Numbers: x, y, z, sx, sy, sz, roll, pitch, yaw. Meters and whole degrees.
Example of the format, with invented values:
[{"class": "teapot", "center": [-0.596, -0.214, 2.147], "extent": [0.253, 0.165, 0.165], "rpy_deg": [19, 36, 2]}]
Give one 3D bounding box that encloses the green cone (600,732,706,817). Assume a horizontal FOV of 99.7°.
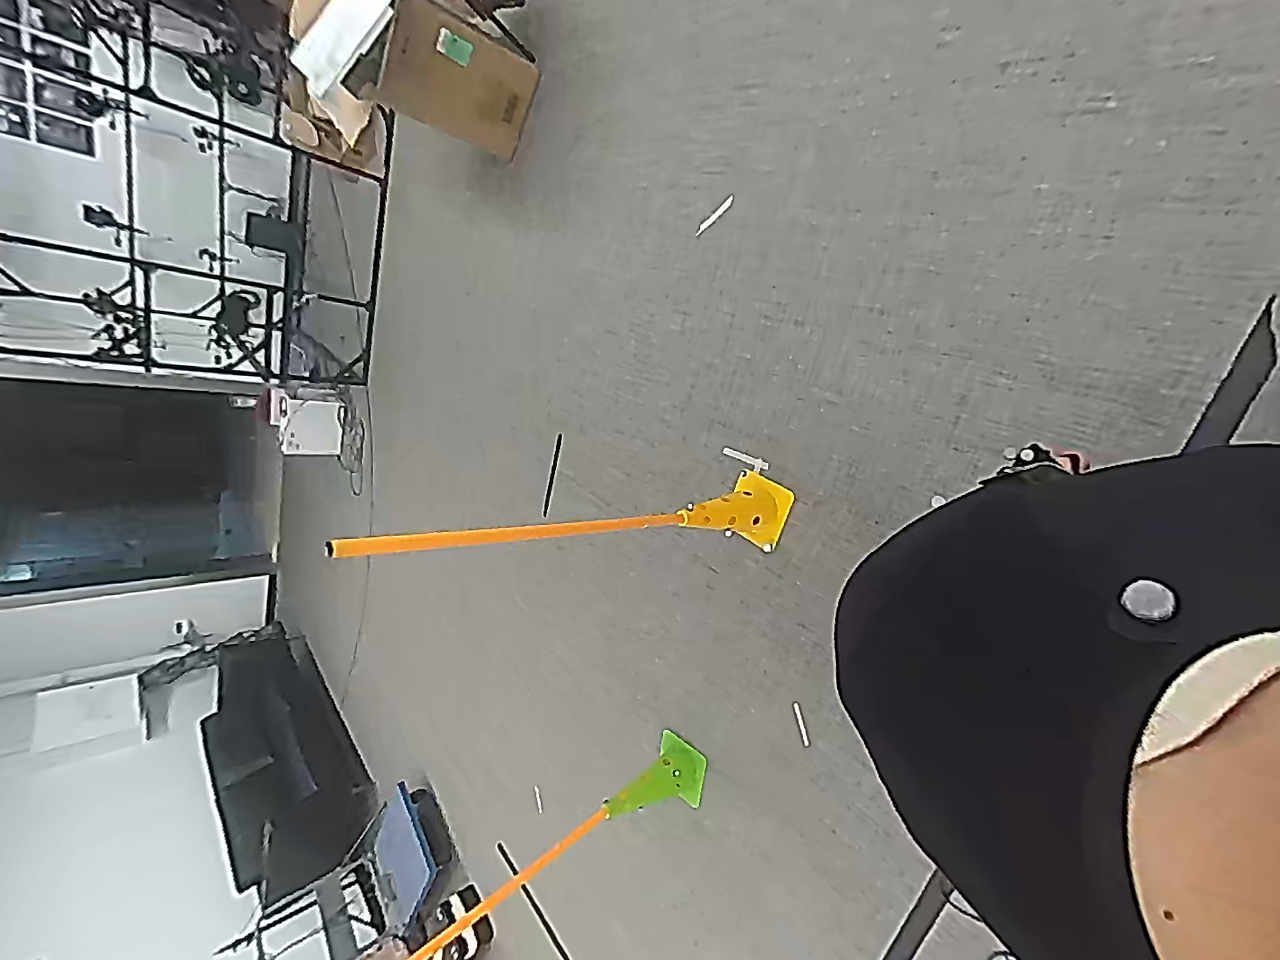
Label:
[{"class": "green cone", "center": [0.021, 1.009, 1.761], "extent": [0.200, 0.368, 0.202], "rpy_deg": [16, 101, 44]}]
